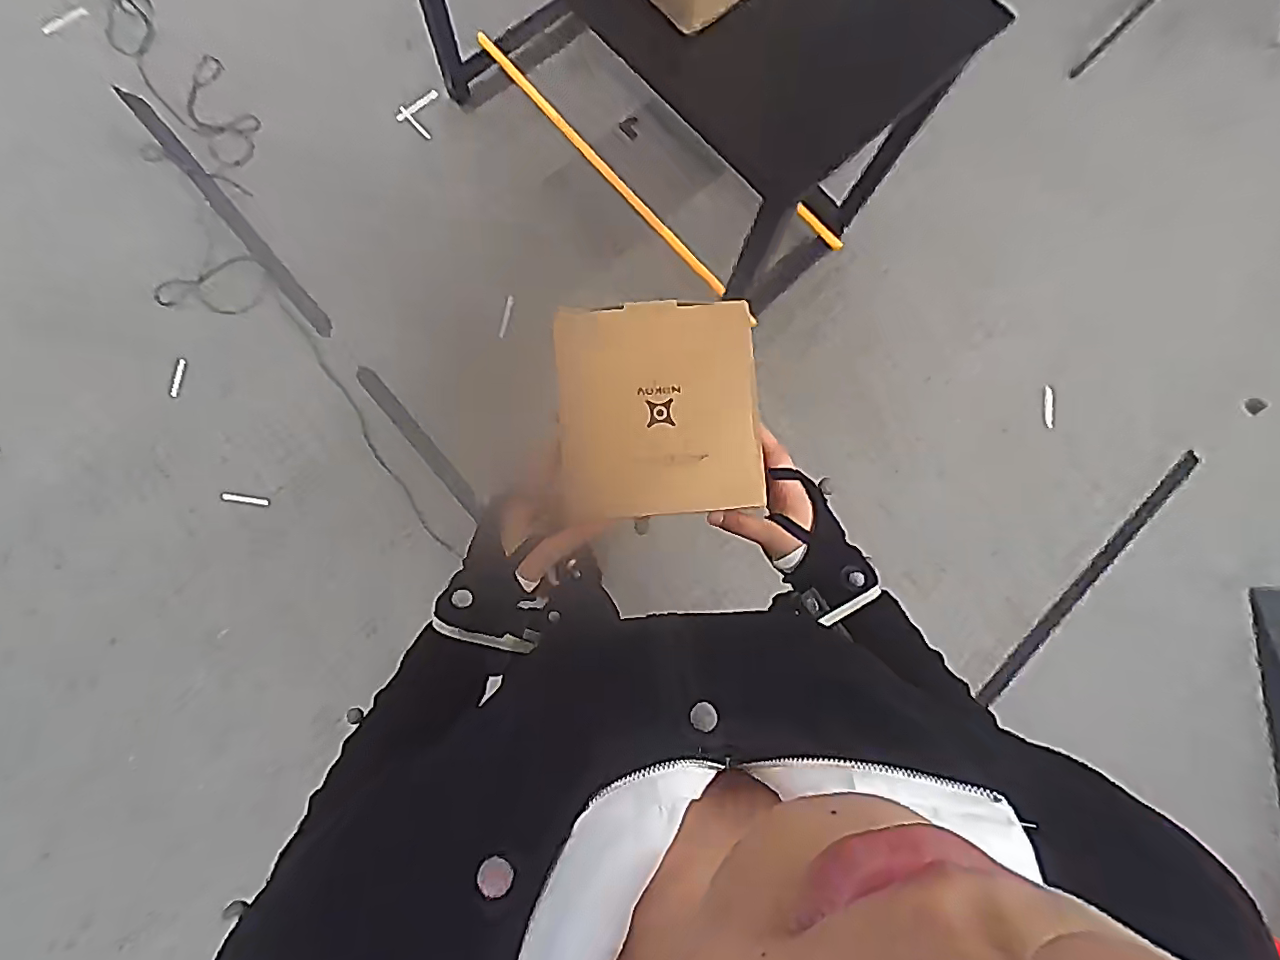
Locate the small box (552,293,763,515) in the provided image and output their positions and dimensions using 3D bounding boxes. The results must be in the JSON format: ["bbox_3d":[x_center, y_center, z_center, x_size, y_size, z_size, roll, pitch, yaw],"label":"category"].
[{"bbox_3d":[0.007,-0.060,0.519,0.168,0.176,0.179,-4,87,-4],"label":"small box"}]
